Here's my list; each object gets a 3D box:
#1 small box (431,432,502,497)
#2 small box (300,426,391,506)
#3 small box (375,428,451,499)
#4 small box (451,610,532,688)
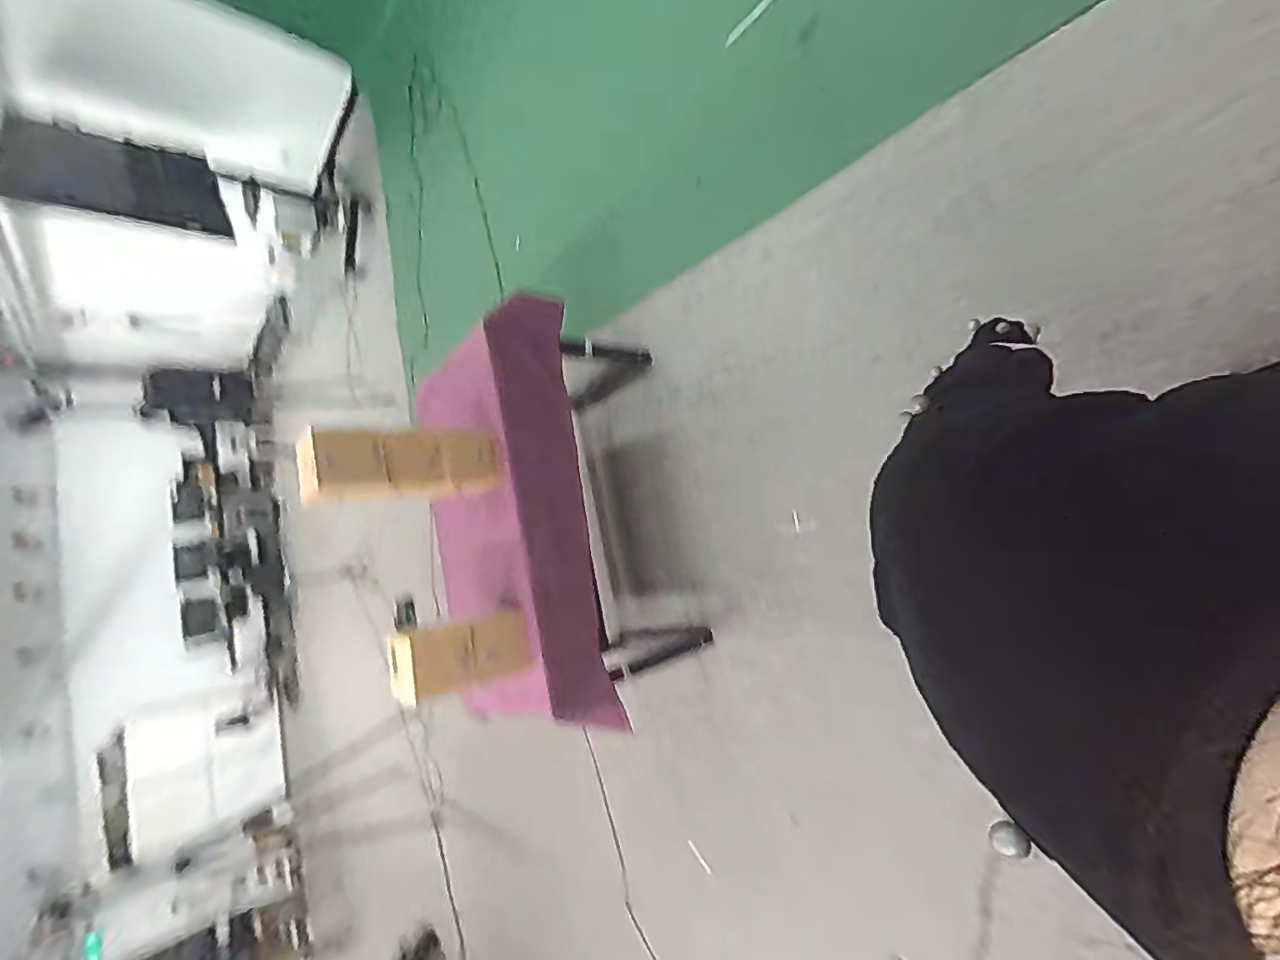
[{"bbox_3d":[-0.530,-0.048,1.638,0.179,0.176,0.168,-18,80,46],"label":"small box"},{"bbox_3d":[-0.773,-0.035,1.418,0.179,0.176,0.168,-23,77,46],"label":"small box"},{"bbox_3d":[-0.655,-0.043,1.533,0.179,0.176,0.168,-17,80,45],"label":"small box"},{"bbox_3d":[-0.430,0.486,1.574,0.168,0.176,0.179,-14,82,47],"label":"small box"}]
